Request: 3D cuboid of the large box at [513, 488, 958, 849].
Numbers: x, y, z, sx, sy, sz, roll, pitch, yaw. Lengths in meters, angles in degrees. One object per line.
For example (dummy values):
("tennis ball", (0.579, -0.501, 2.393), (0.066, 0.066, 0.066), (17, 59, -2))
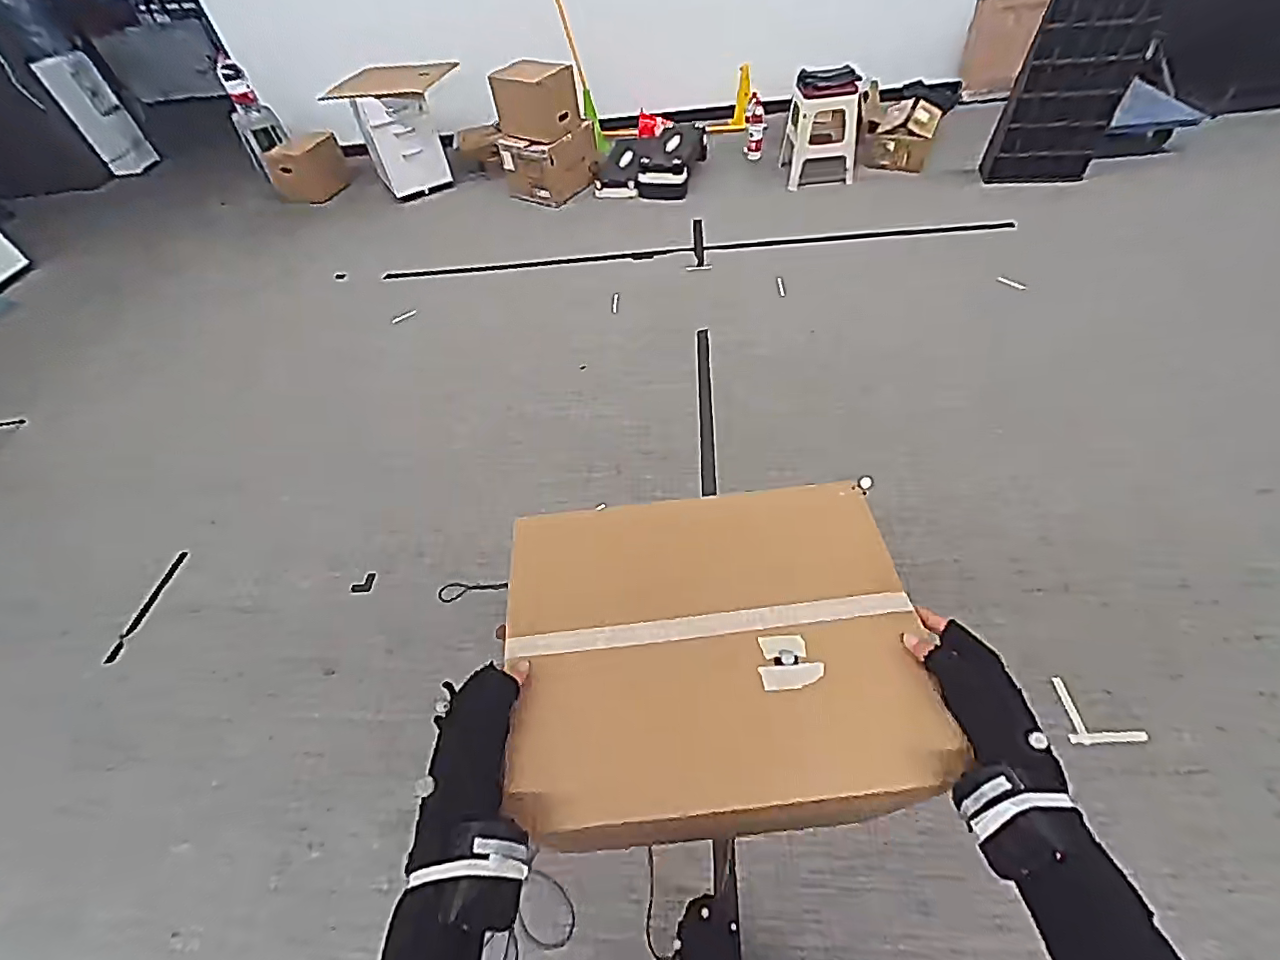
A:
("large box", (0.076, 0.243, 0.676), (0.408, 0.320, 0.320), (-6, 54, -1))
